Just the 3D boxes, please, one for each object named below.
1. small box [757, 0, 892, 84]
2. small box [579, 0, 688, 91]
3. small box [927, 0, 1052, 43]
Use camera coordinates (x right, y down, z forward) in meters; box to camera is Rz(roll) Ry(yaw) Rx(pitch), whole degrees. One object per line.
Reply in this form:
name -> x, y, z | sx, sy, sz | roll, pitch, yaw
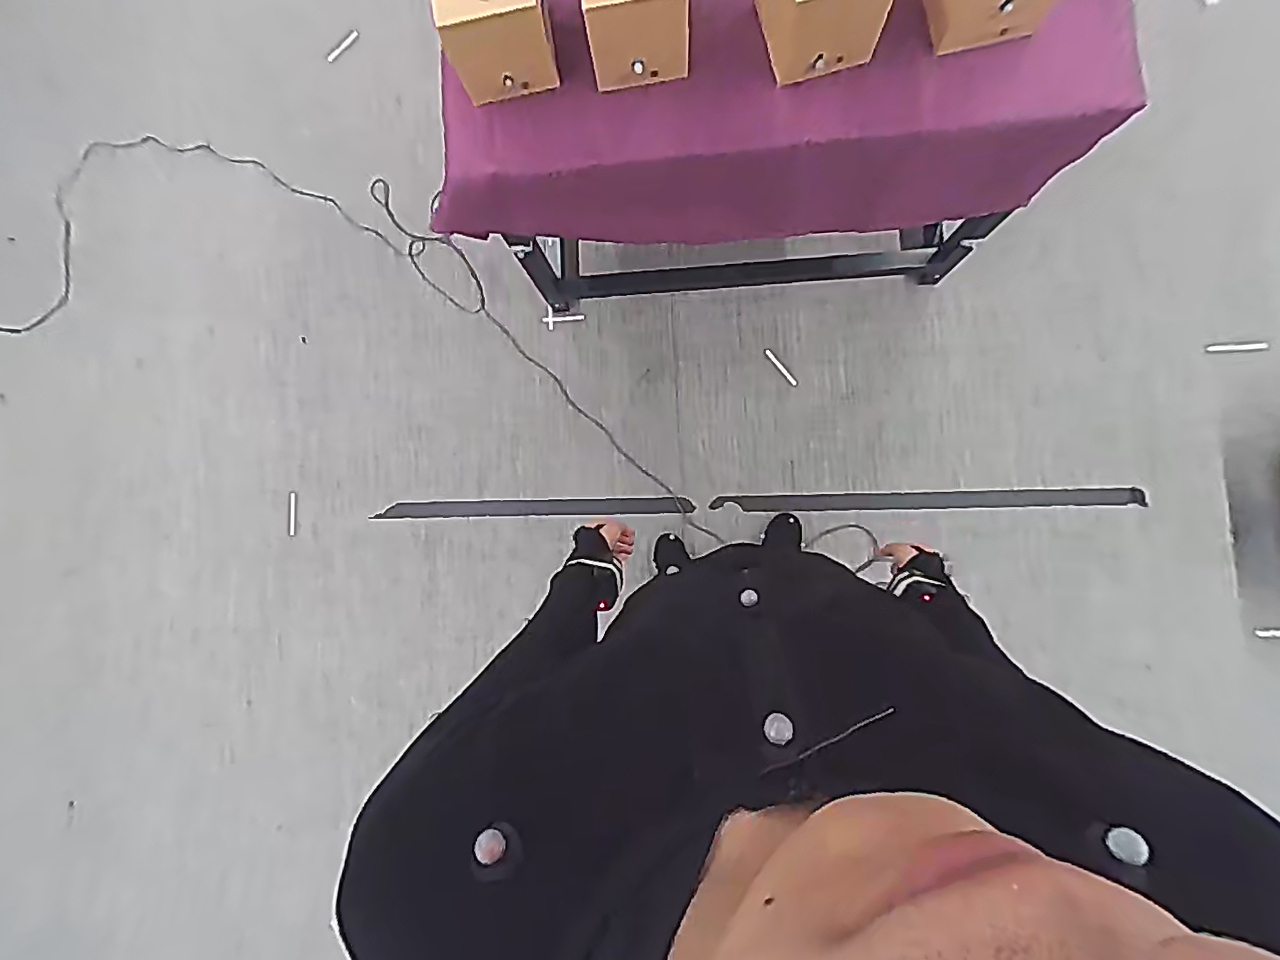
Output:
small box -> 0.292, -0.797, 0.869 | 0.168, 0.176, 0.179 | -13, 85, 5
small box -> -0.012, -0.801, 0.897 | 0.168, 0.176, 0.179 | -7, 87, 5
small box -> 0.566, -0.832, 0.843 | 0.168, 0.176, 0.179 | -9, 85, 5
